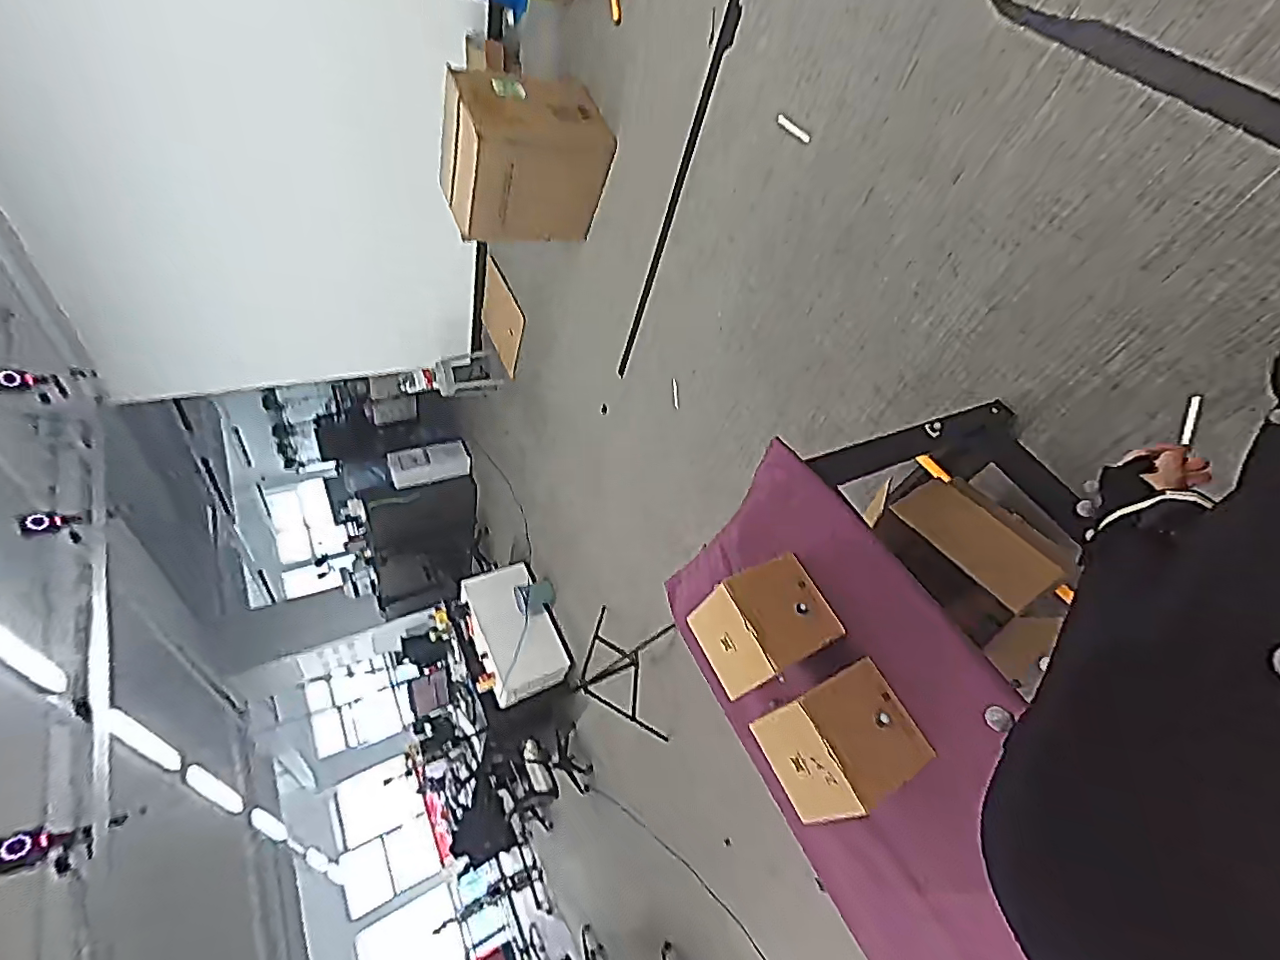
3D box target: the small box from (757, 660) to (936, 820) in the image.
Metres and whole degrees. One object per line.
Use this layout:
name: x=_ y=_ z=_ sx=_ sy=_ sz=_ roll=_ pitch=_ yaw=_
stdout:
small box: x=0.329 y=0.418 z=0.876 sx=0.168 sy=0.176 sz=0.179 roll=60 pitch=149 yaw=25

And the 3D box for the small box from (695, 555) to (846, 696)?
small box: x=0.231 y=0.260 z=0.974 sx=0.168 sy=0.176 sz=0.179 roll=60 pitch=149 yaw=25
